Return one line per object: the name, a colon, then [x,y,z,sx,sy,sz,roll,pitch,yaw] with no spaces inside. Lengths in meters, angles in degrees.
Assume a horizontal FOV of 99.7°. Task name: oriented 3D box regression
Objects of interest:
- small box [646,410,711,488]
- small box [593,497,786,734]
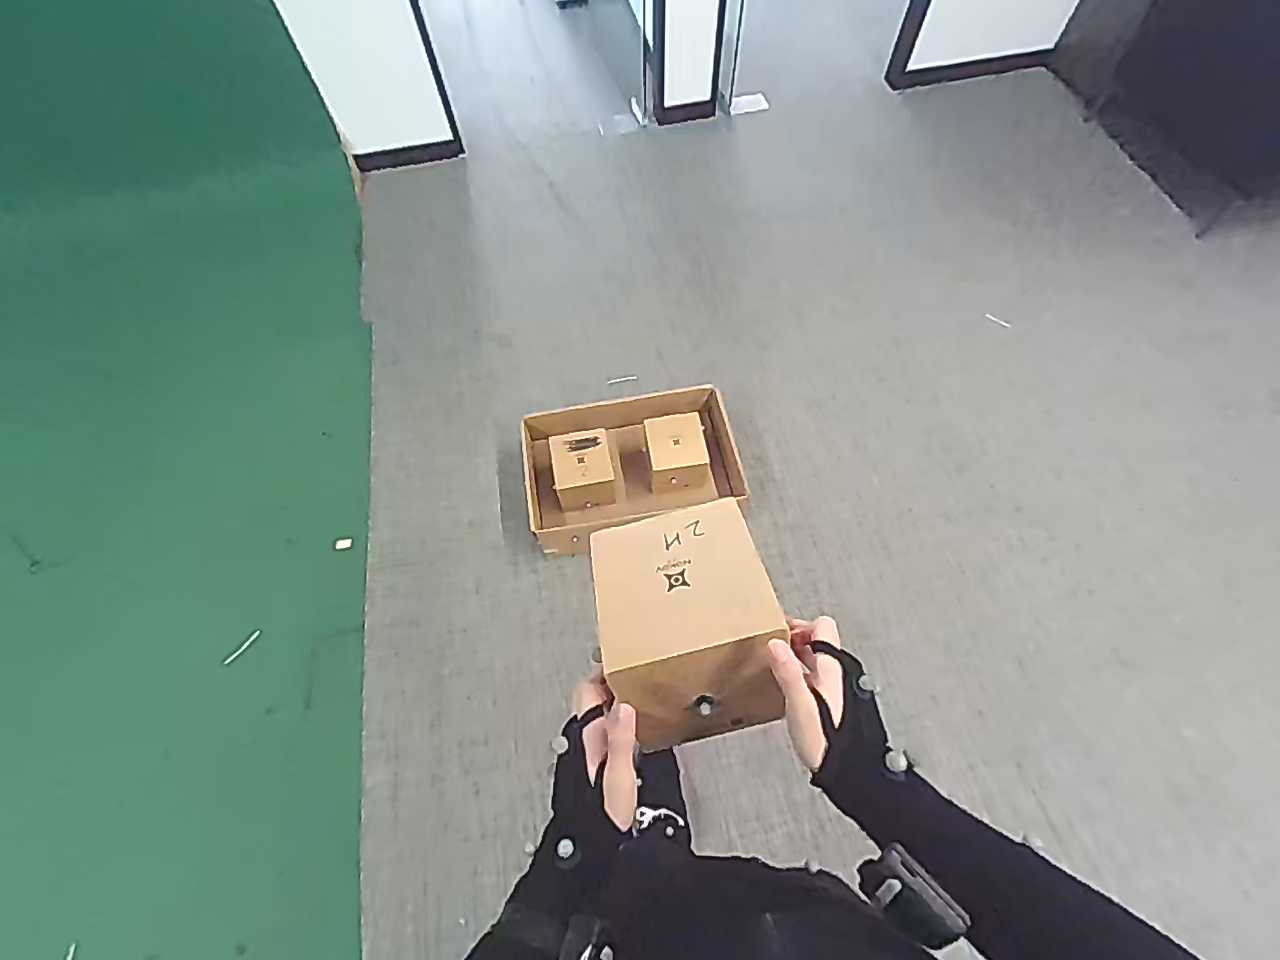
small box: [0.113,-0.085,1.626,0.168,0.176,0.179,-9,64,-2]
small box: [0.053,0.150,0.584,0.168,0.176,0.179,-13,39,2]
